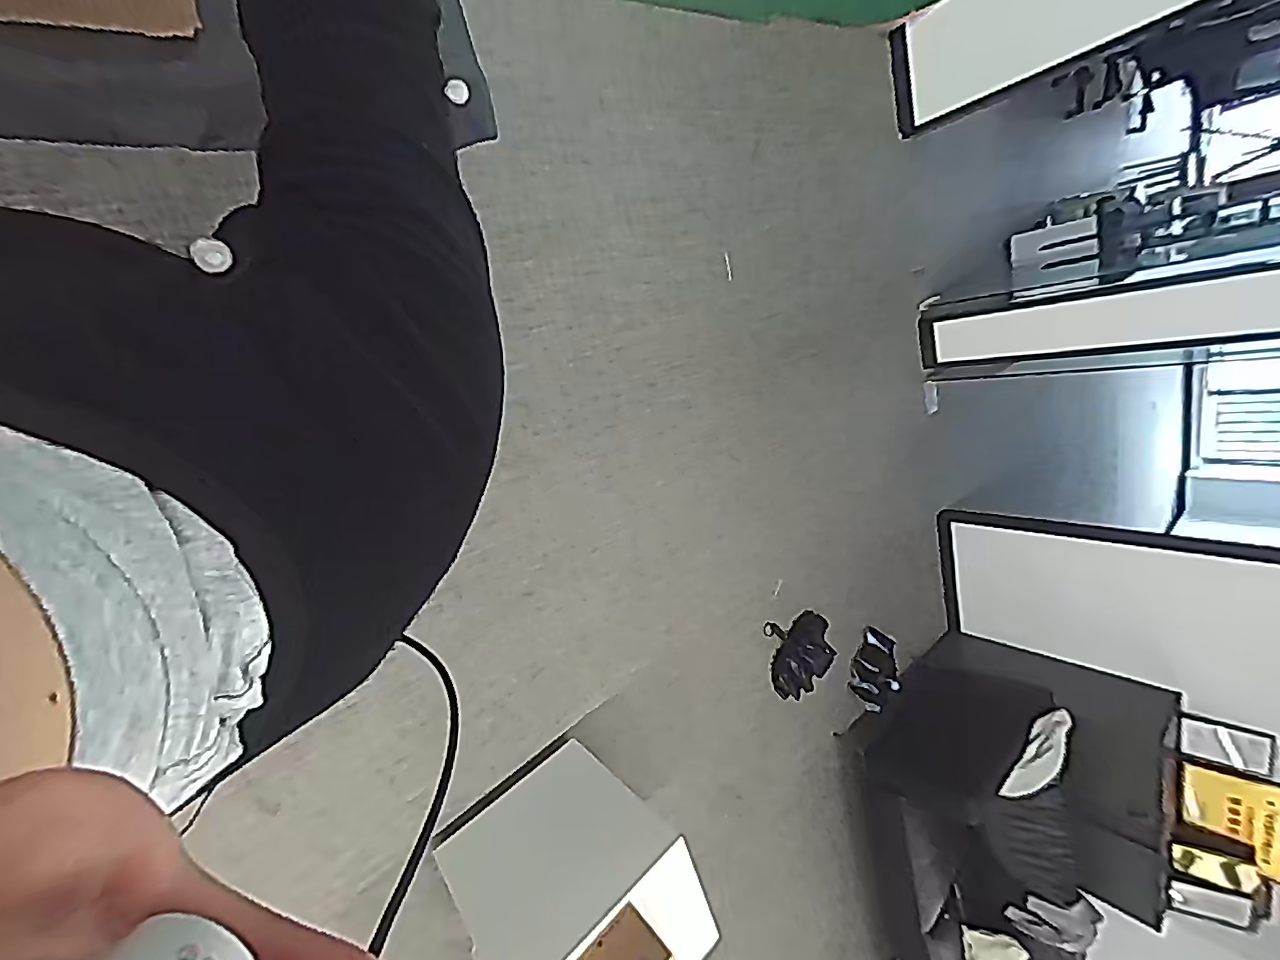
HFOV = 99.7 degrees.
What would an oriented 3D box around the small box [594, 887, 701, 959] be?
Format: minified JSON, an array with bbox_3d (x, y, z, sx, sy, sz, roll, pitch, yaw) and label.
[{"bbox_3d":[0.024,1.090,1.231,0.168,0.176,0.179,-33,115,-31],"label":"small box"}]
